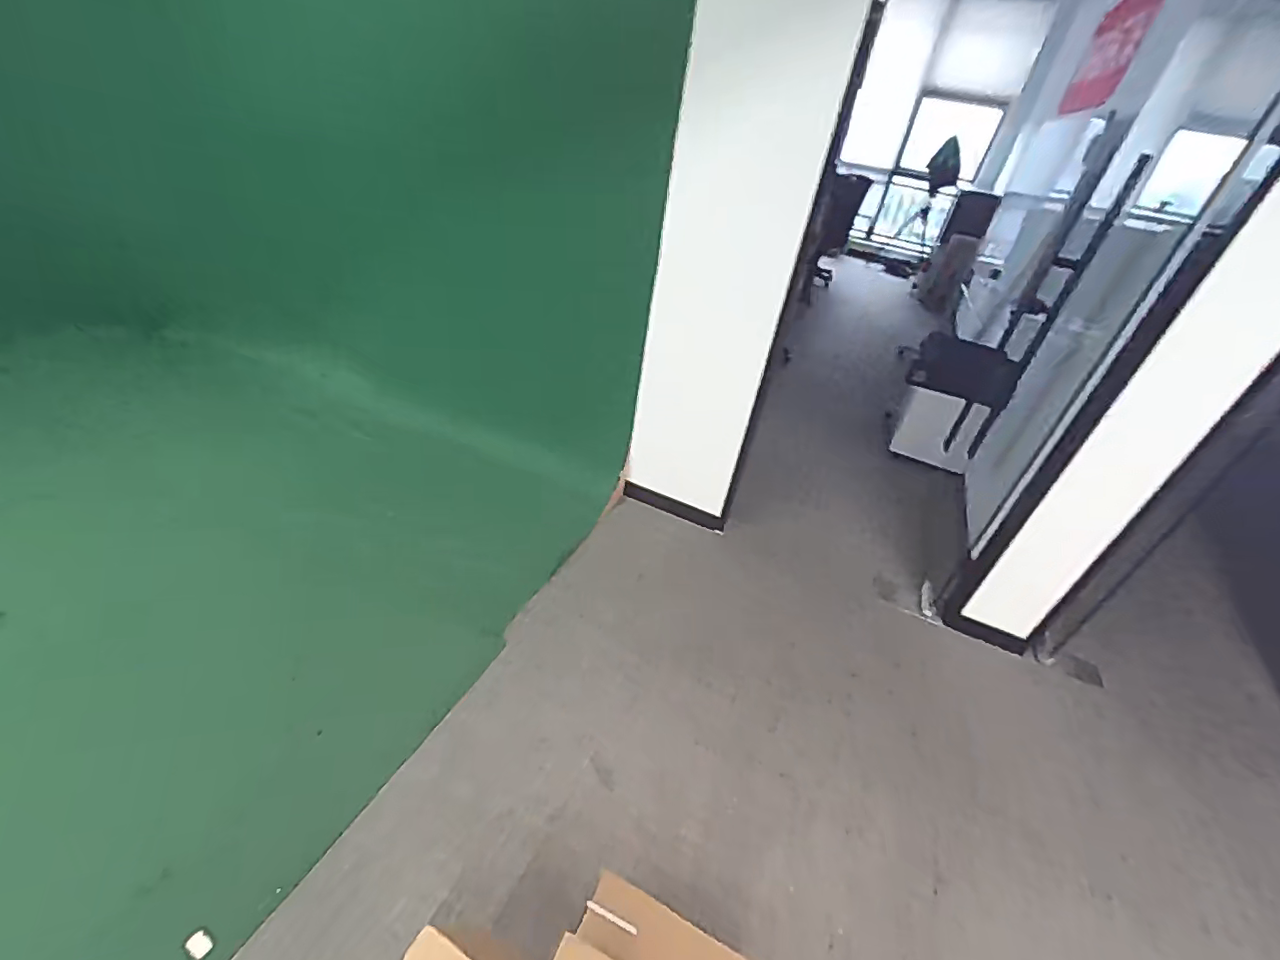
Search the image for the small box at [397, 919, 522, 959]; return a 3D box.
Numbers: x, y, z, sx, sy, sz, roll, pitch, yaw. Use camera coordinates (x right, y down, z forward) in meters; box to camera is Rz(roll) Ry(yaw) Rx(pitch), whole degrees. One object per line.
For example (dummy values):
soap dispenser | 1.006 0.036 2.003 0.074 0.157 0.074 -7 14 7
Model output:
small box | -0.126 0.461 0.387 0.179 0.176 0.168 25 55 17
